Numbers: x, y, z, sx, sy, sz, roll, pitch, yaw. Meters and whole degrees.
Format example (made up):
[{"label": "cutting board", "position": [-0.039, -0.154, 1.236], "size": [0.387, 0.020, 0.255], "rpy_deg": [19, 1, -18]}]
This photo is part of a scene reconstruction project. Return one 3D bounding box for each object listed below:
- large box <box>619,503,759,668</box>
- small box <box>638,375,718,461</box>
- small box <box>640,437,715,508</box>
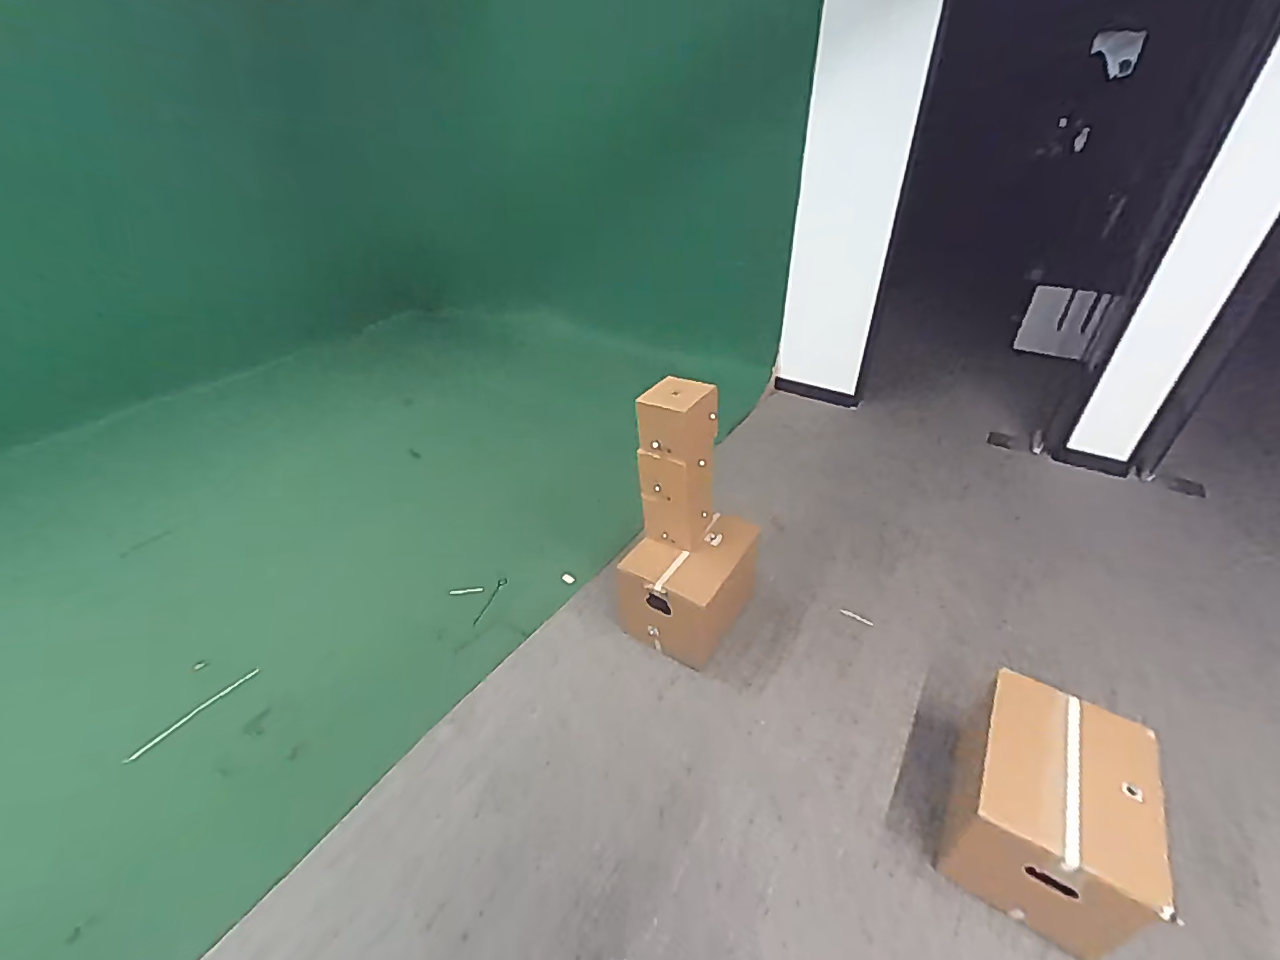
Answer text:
[{"label": "large box", "position": [0.172, 0.337, 1.818], "size": [0.320, 0.320, 0.408], "rpy_deg": [20, 41, 28]}, {"label": "small box", "position": [0.112, -0.180, 1.561], "size": [0.168, 0.176, 0.179], "rpy_deg": [19, 43, 32]}, {"label": "small box", "position": [0.117, -0.045, 1.653], "size": [0.168, 0.176, 0.179], "rpy_deg": [18, 42, 30]}]
